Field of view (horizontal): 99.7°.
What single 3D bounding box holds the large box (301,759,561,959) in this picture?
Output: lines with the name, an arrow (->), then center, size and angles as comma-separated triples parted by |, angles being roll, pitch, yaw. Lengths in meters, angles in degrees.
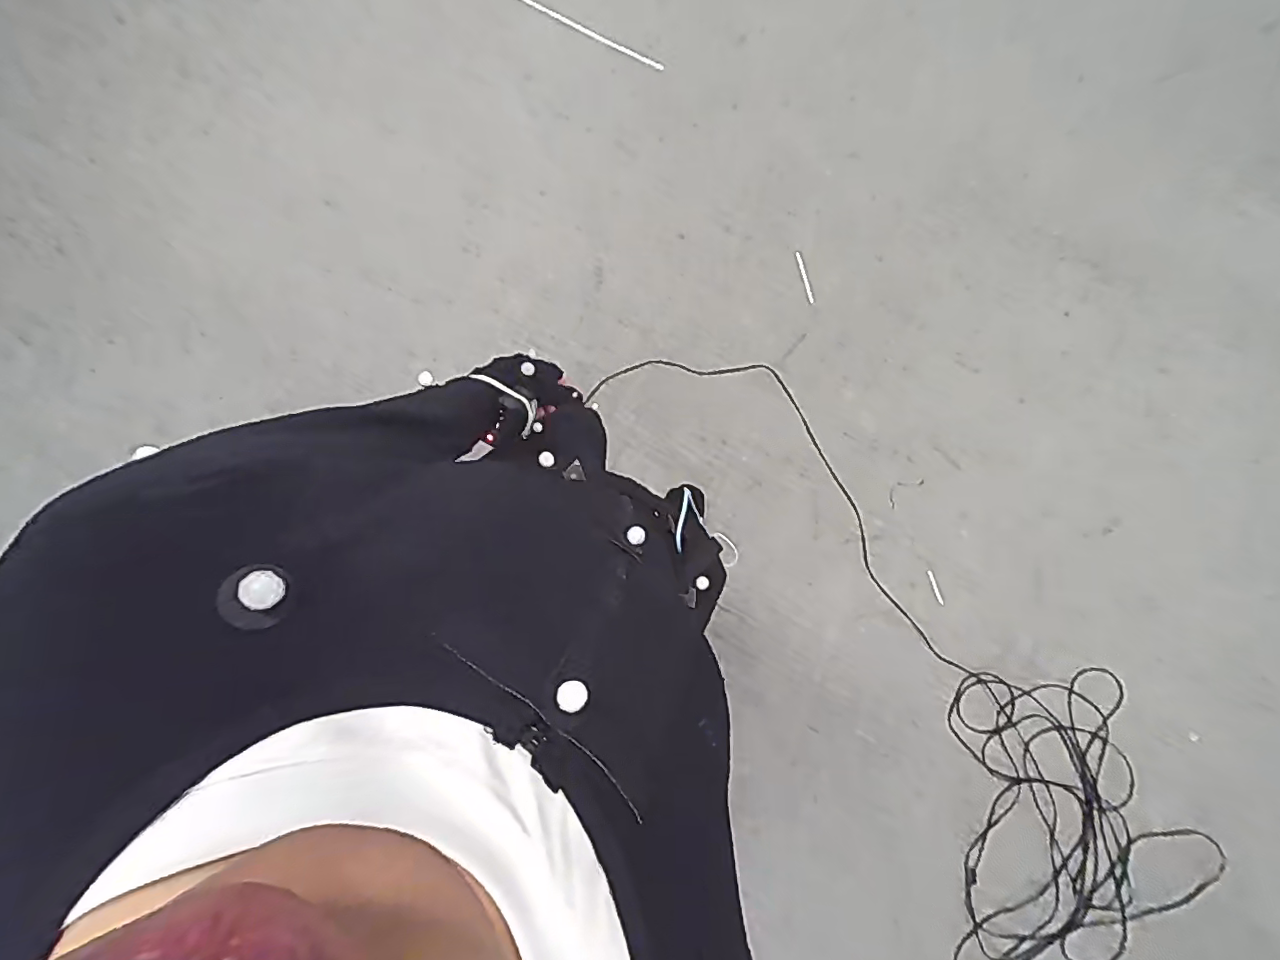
large box -> -0.423, 0.924, 1.182 | 0.320, 0.320, 0.408 | -29, 89, 4
